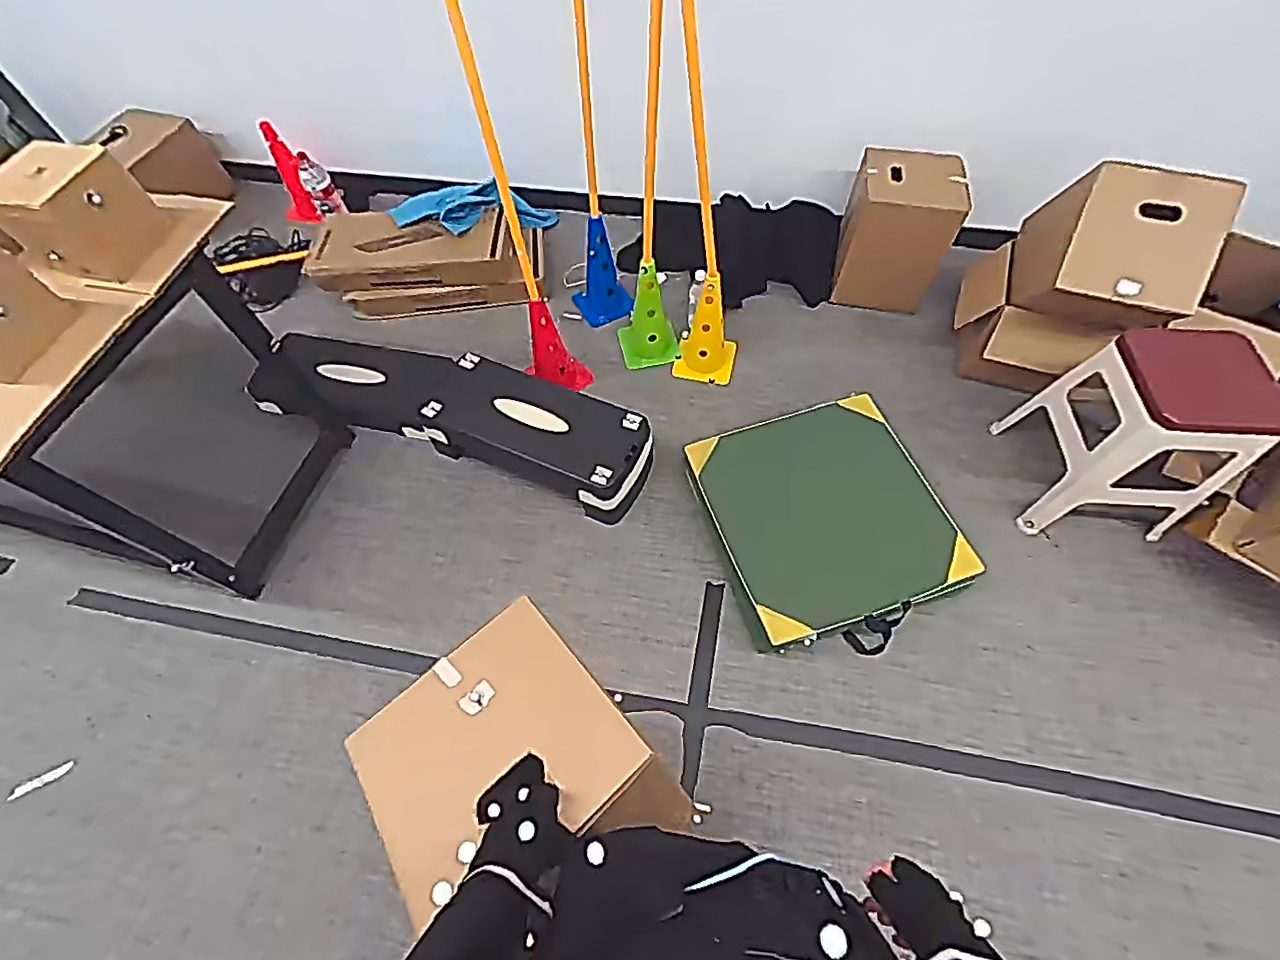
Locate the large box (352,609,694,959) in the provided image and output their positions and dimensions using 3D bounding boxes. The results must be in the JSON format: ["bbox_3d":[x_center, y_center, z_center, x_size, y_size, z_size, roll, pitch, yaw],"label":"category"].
[{"bbox_3d":[-0.156,0.476,0.852,0.320,0.408,0.320,-39,52,-16],"label":"large box"}]
